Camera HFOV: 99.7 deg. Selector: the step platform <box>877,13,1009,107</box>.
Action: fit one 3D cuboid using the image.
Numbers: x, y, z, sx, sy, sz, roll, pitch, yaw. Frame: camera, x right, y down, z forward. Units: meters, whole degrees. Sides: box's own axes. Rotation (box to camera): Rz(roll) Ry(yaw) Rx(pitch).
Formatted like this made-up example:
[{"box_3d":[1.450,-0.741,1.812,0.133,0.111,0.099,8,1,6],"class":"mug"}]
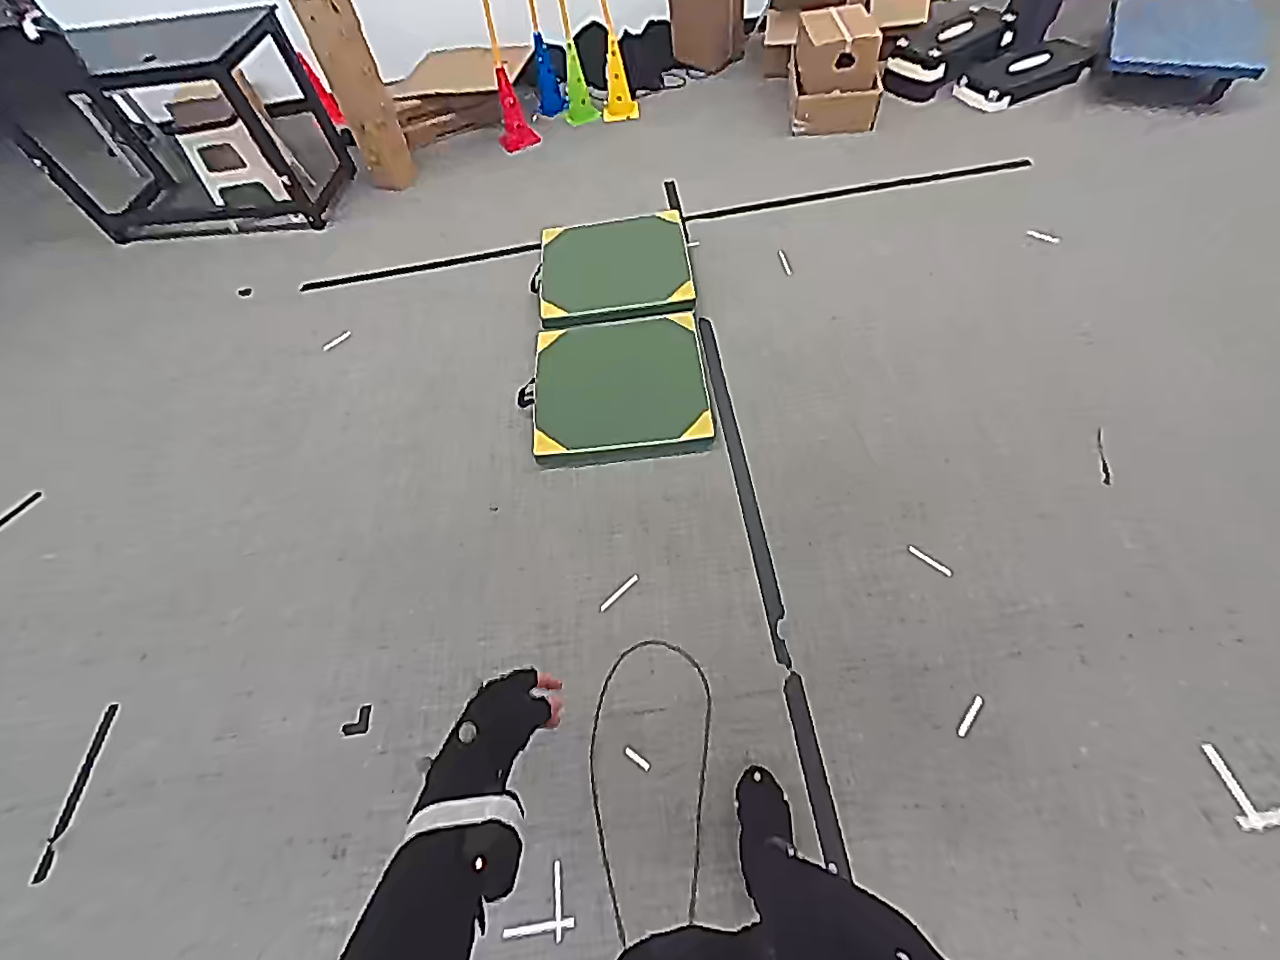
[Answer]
[{"box_3d":[1.610,-2.237,2.871,0.684,0.204,0.286,-33,60,-14],"class":"step platform"}]
